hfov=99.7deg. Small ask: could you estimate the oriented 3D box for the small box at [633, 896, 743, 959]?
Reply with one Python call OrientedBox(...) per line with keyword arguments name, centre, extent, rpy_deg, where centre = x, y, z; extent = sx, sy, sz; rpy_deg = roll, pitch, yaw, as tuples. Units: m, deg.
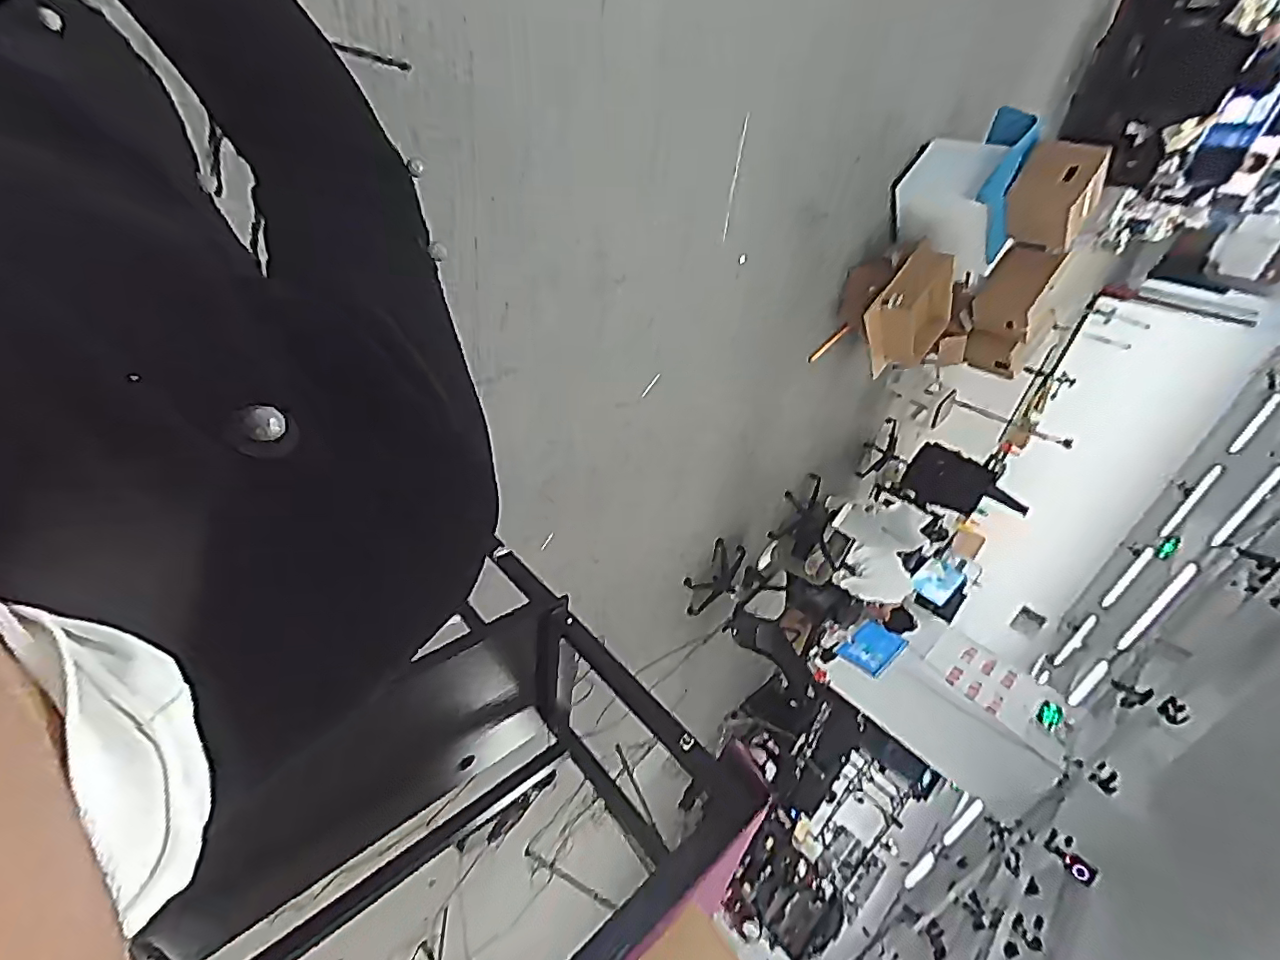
OrientedBox(name="small box", centre=(0.081, 0.915, 0.978), extent=(0.179, 0.176, 0.168), rpy_deg=(-20, 132, -39))
